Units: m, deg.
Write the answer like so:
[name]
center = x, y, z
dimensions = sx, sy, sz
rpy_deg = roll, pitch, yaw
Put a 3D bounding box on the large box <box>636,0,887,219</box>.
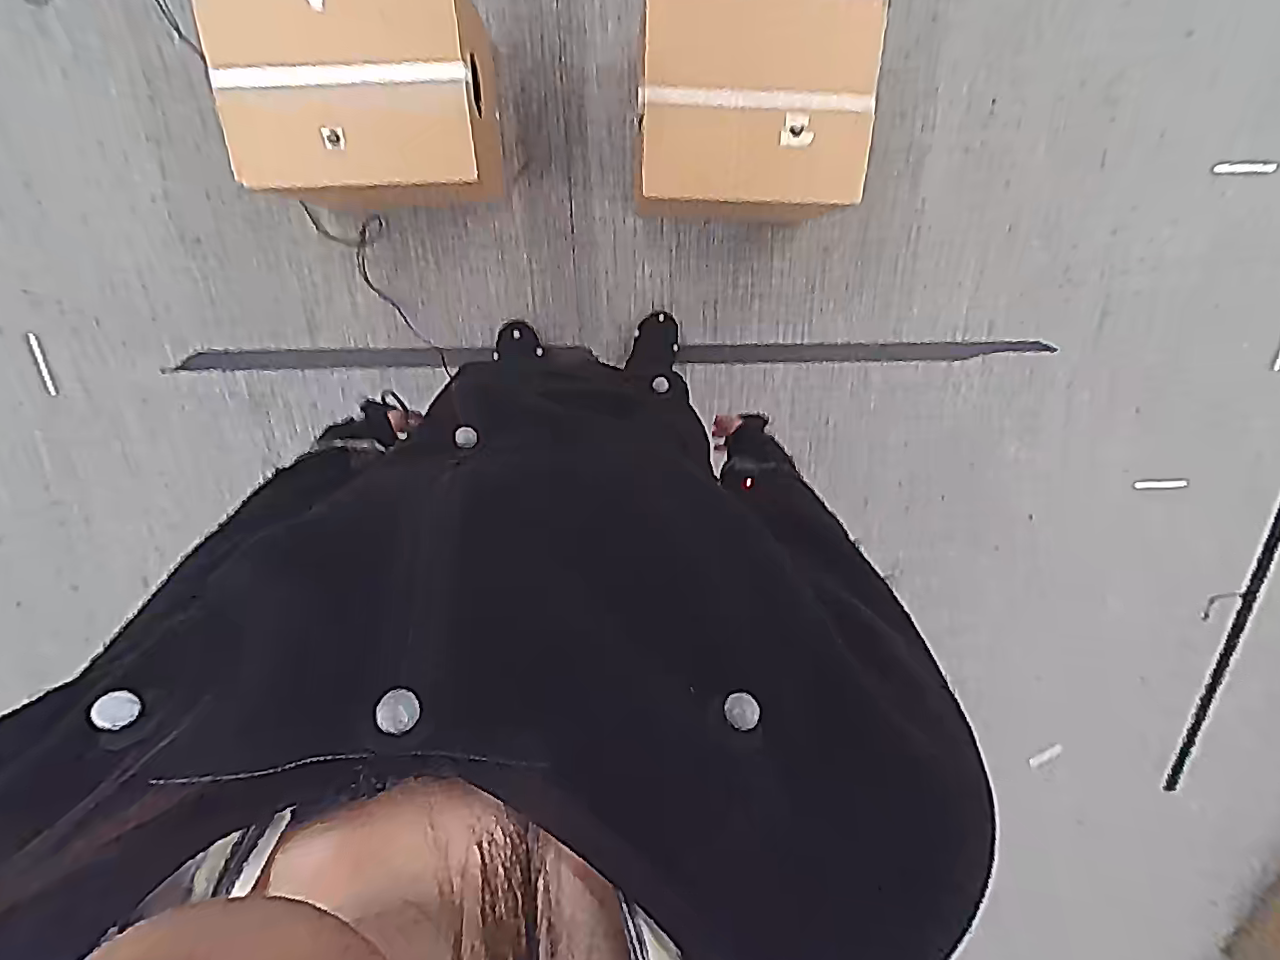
[large box]
center = 0.200, -0.709, 1.070
dimensions = 0.408, 0.320, 0.320
rpy_deg = 0, 110, -5
